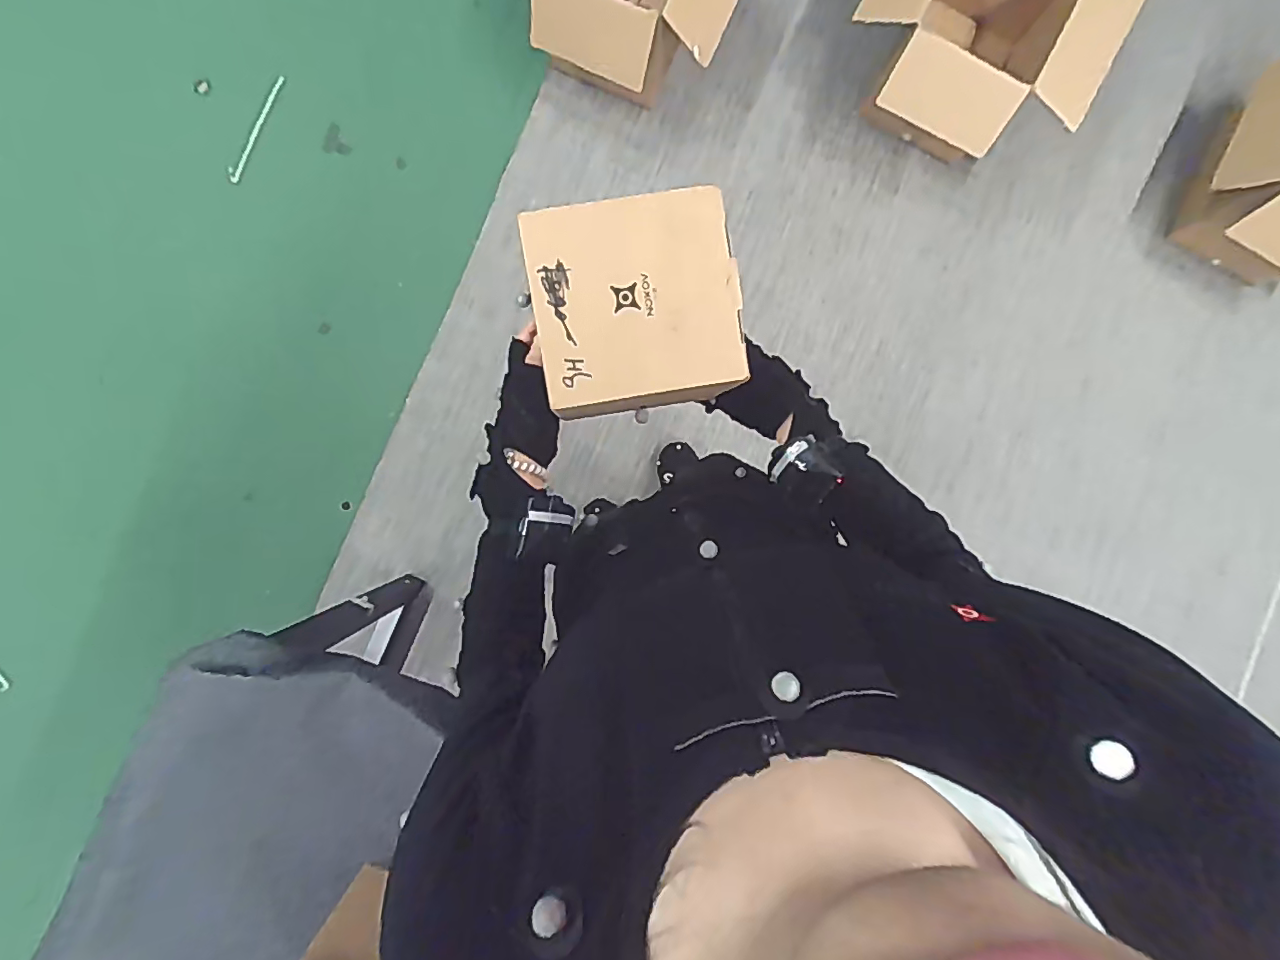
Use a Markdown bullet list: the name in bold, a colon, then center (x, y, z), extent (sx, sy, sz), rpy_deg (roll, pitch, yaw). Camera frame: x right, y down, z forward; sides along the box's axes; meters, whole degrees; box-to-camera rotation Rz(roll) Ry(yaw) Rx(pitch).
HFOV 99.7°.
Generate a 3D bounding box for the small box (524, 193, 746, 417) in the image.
- **small box**: center (-0.009, -0.159, 0.541), extent (0.179, 0.176, 0.168), rpy_deg (-9, 93, -4)
